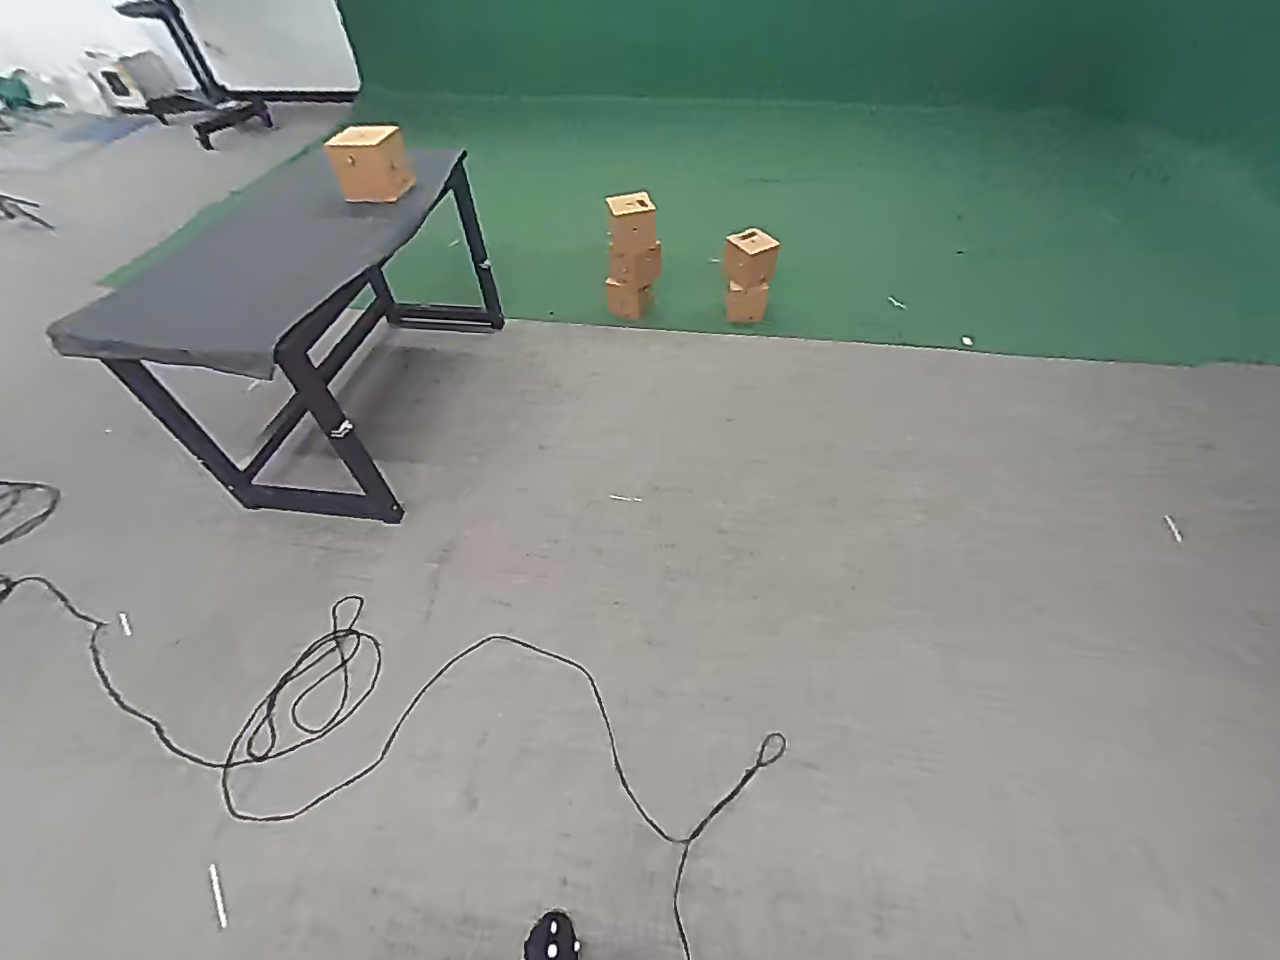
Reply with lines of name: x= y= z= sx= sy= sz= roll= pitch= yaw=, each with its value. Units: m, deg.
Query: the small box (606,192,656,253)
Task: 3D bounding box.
small box: x=-0.038 y=-1.085 z=2.283 sx=0.179 sy=0.176 sz=0.168 roll=-12 pitch=52 yaw=-7

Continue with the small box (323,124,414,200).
small box: x=-0.854 y=-1.011 z=1.725 sx=0.179 sy=0.176 sz=0.168 roll=5 pitch=51 yaw=8

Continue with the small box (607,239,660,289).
small box: x=-0.026 y=-0.980 z=2.409 sx=0.179 sy=0.176 sz=0.168 roll=-37 pitch=60 yaw=-26

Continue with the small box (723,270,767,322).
small box: x=0.480 y=-0.849 z=2.496 sx=0.168 sy=0.176 sz=0.179 roll=-1 pitch=50 yaw=1

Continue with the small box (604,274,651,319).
small box: x=-0.053 y=-0.885 z=2.541 sx=0.168 sy=0.176 sz=0.179 roll=20 pitch=53 yaw=16
